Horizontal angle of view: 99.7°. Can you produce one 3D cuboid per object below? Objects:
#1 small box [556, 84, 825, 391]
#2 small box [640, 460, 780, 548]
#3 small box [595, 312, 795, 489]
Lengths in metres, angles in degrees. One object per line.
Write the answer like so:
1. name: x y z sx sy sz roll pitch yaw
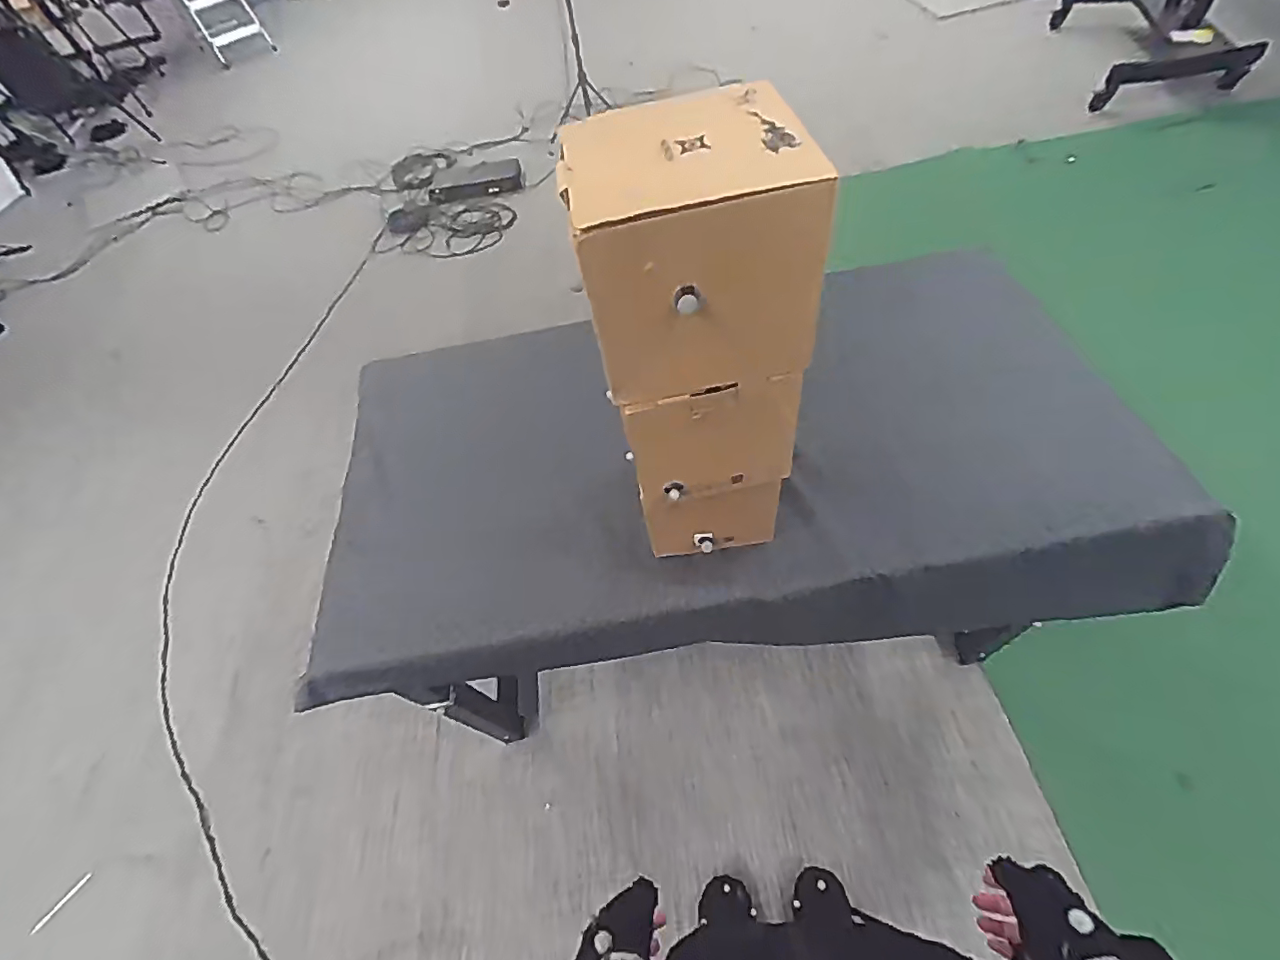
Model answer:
1. small box: 0.039 -0.199 0.467 0.179 0.176 0.168 -13 54 0
2. small box: 0.085 -0.029 0.740 0.168 0.176 0.179 -10 57 4
3. small box: 0.058 -0.107 0.598 0.168 0.176 0.179 -16 56 0
